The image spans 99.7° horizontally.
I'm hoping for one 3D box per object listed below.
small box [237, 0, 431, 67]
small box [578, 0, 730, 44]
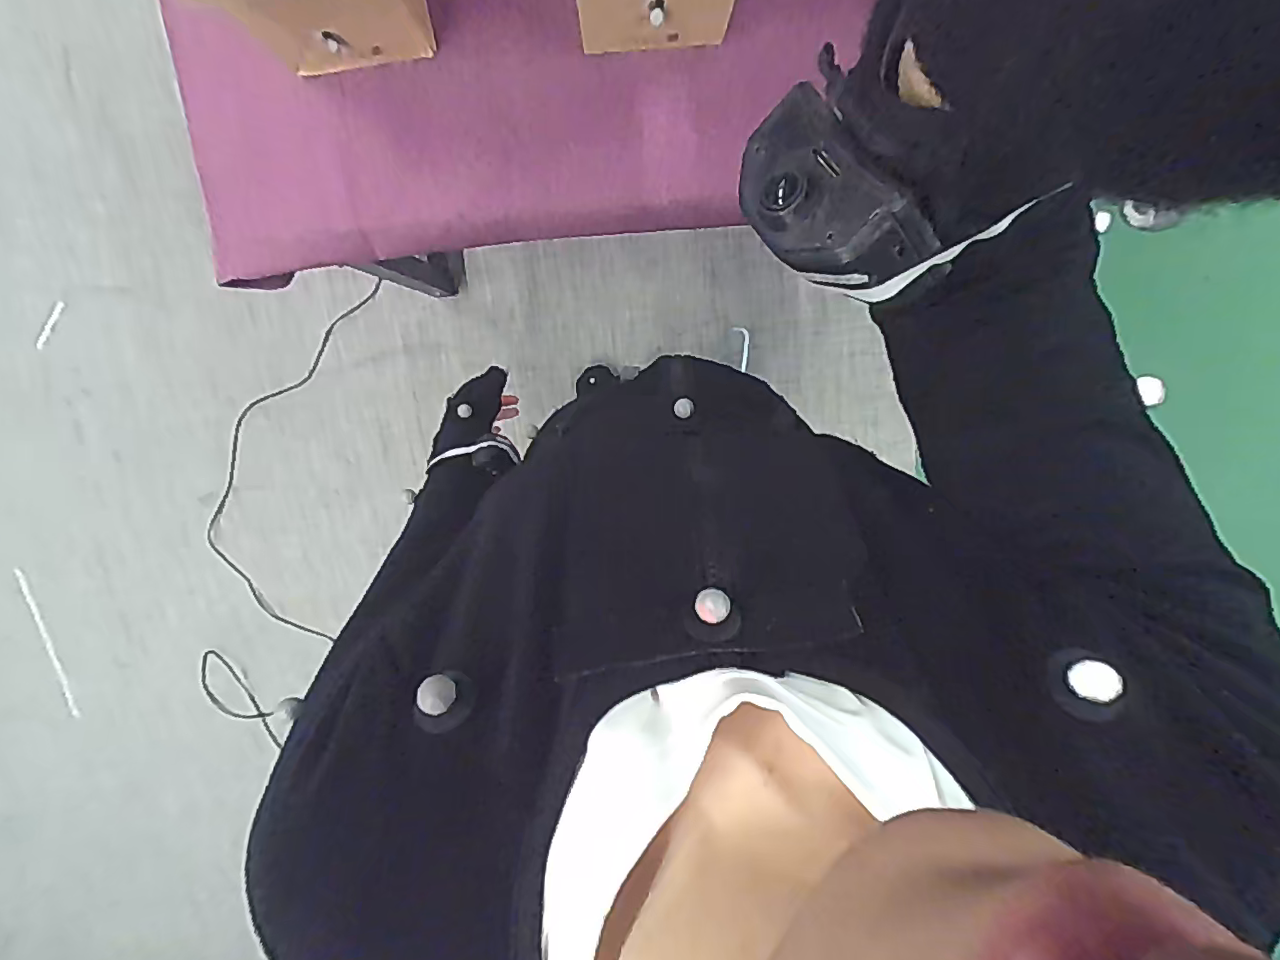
[{"bbox_3d":[-0.328,-0.553,0.528,0.168,0.176,0.179,-9,103,0],"label":"small box"},{"bbox_3d":[0.009,-0.573,0.534,0.168,0.176,0.179,-7,102,2],"label":"small box"}]
